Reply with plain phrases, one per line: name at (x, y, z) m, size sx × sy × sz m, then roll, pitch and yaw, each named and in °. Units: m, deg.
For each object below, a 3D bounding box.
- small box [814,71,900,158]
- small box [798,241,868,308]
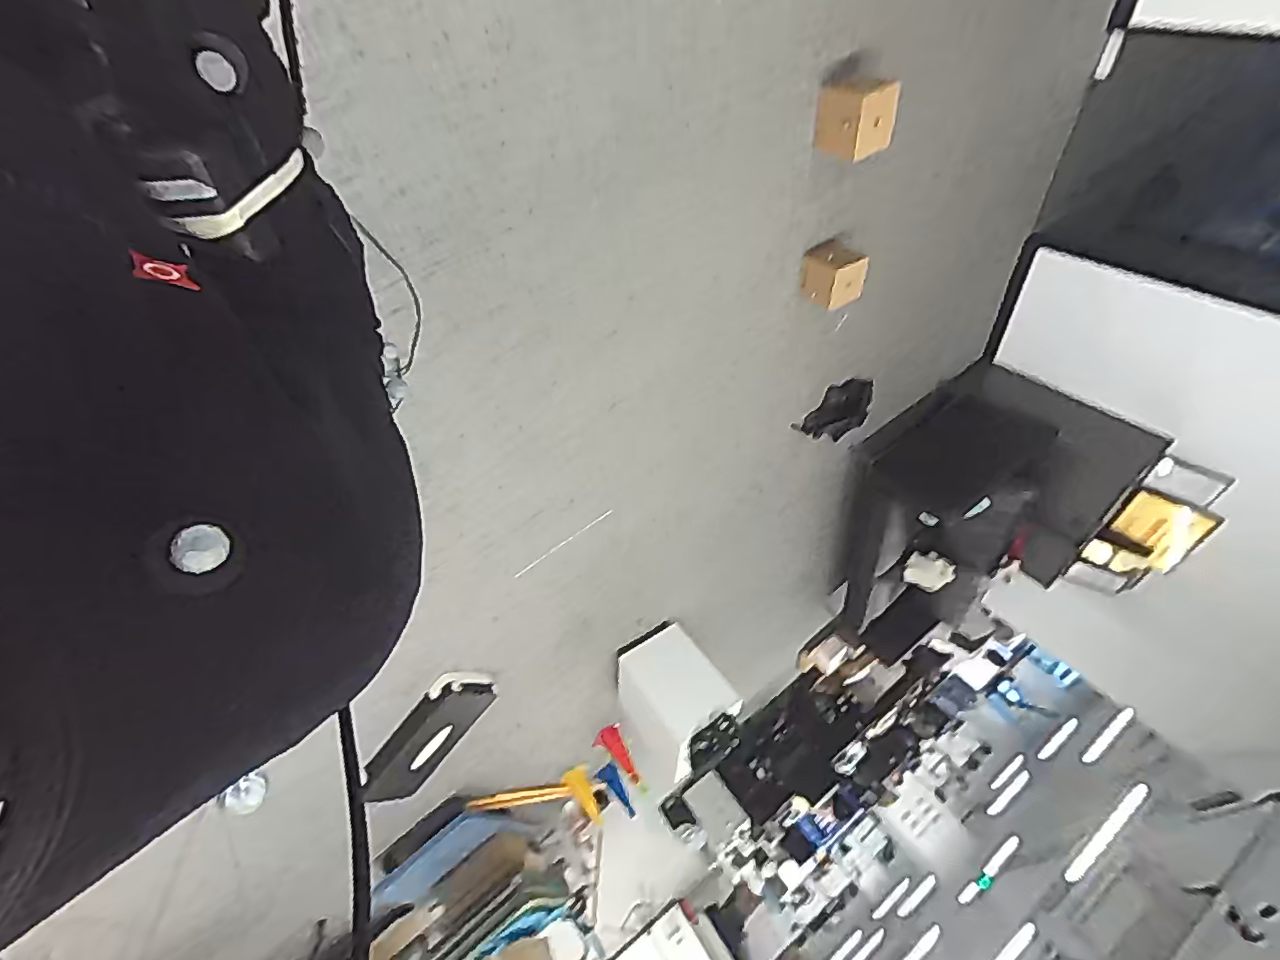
small box at (0.662, -1.129, 1.668) m, size 0.168 × 0.176 × 0.179 m, roll -32°, pitch 141°, yaw -17°
small box at (0.727, -0.785, 2.057) m, size 0.179 × 0.176 × 0.168 m, roll -30°, pitch 142°, yaw -21°
